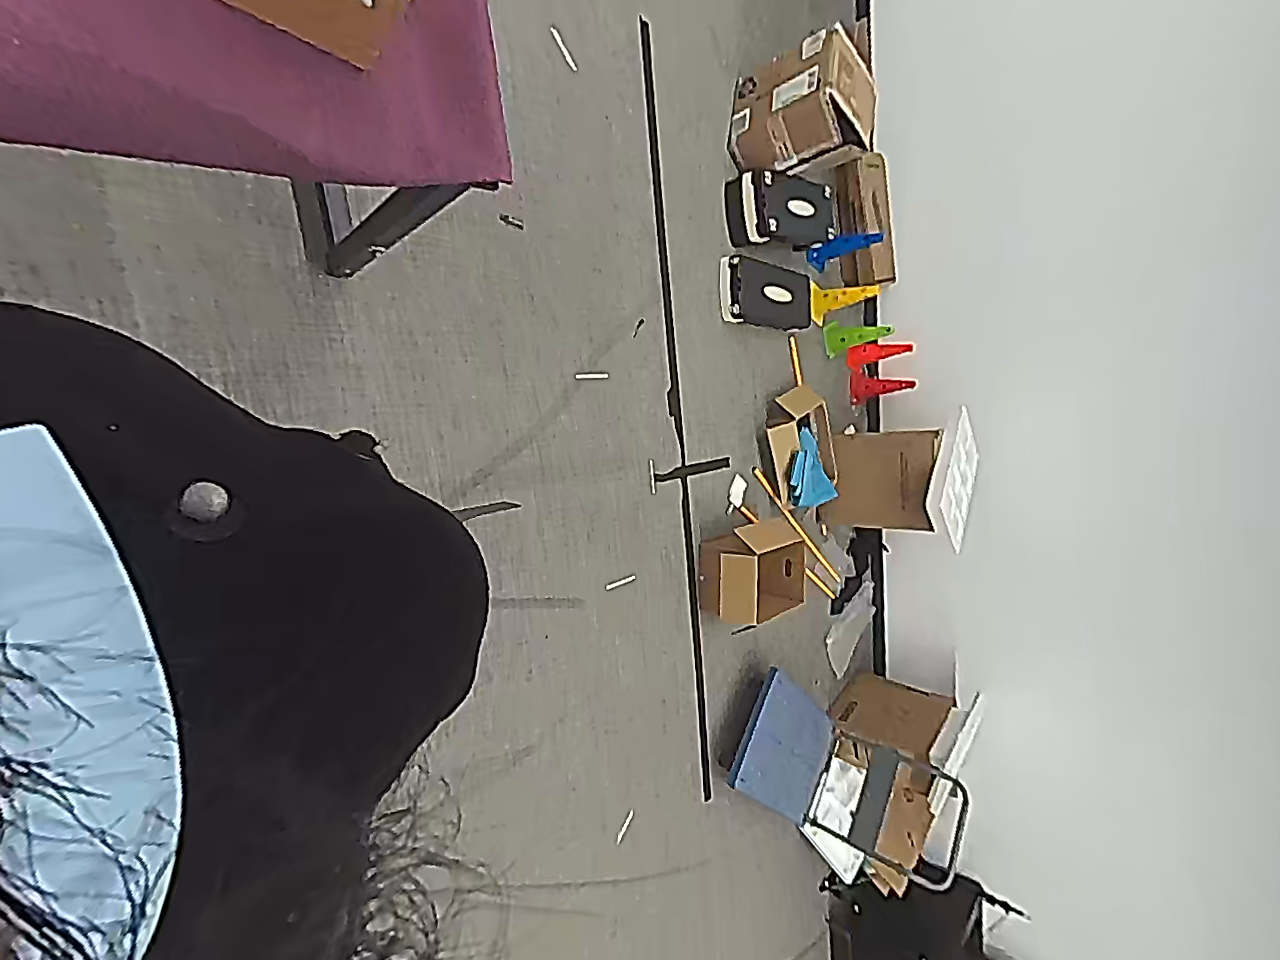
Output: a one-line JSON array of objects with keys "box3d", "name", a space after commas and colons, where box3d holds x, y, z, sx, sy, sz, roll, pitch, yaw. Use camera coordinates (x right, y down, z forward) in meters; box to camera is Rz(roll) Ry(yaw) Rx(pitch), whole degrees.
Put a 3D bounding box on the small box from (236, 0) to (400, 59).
[{"box3d": [-0.374, -0.633, 0.612, 0.179, 0.176, 0.168, 0, 93, -44], "name": "small box"}]
